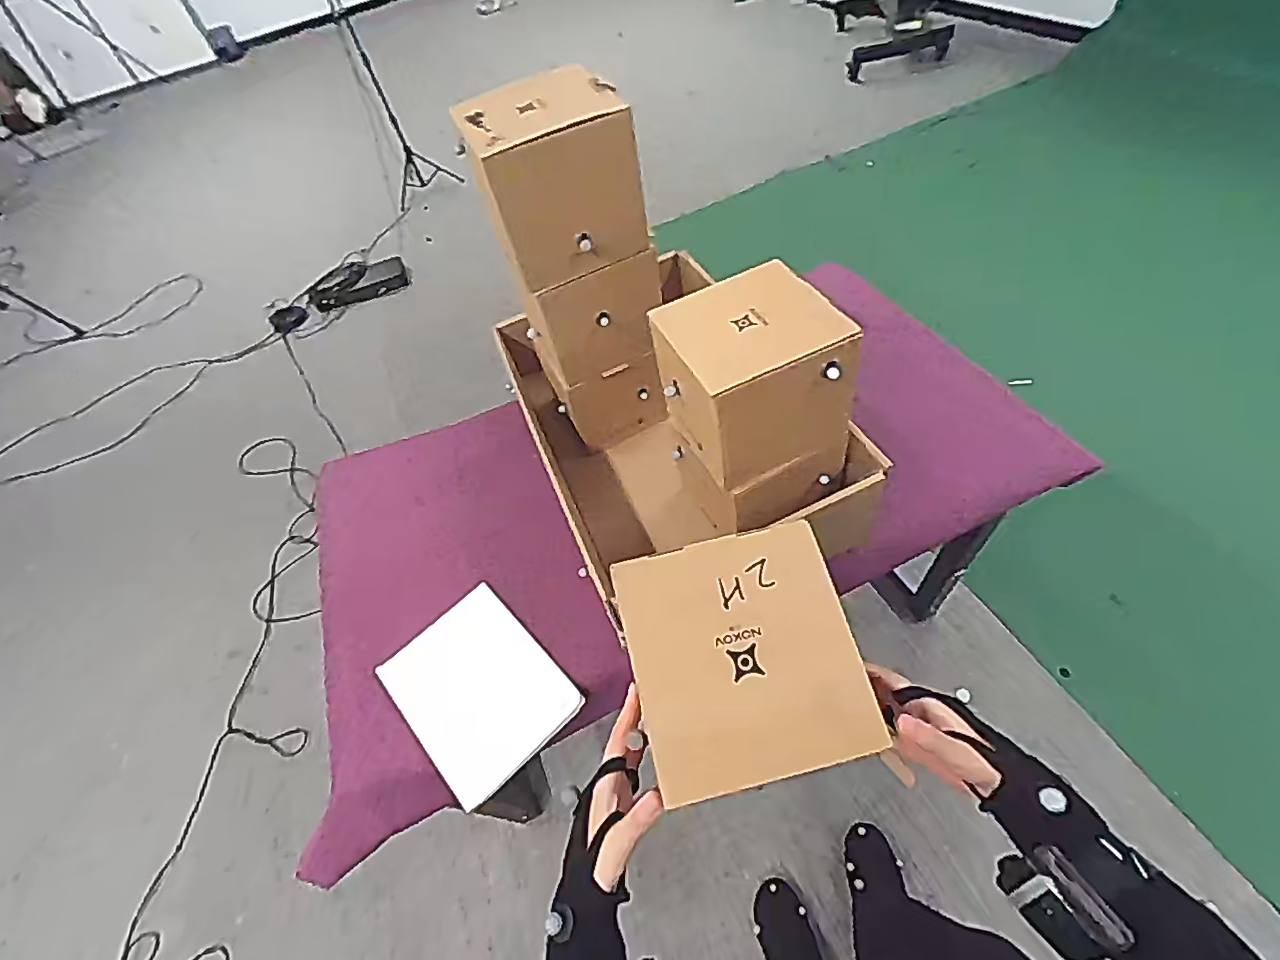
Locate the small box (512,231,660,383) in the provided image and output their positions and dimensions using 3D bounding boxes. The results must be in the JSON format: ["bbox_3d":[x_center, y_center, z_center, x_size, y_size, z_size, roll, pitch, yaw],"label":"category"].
[{"bbox_3d":[-0.079,-0.279,0.807,0.179,0.176,0.168,-26,55,-9],"label":"small box"}]

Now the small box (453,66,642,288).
[{"bbox_3d":[-0.106,-0.375,0.677,0.179,0.176,0.168,-24,54,-8],"label":"small box"}]

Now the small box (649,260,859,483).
[{"bbox_3d":[0.131,-0.124,0.648,0.179,0.176,0.168,-24,52,-7],"label":"small box"}]

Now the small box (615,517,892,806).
[{"bbox_3d":[0.078,0.153,0.468,0.168,0.176,0.179,-12,67,-5],"label":"small box"}]
